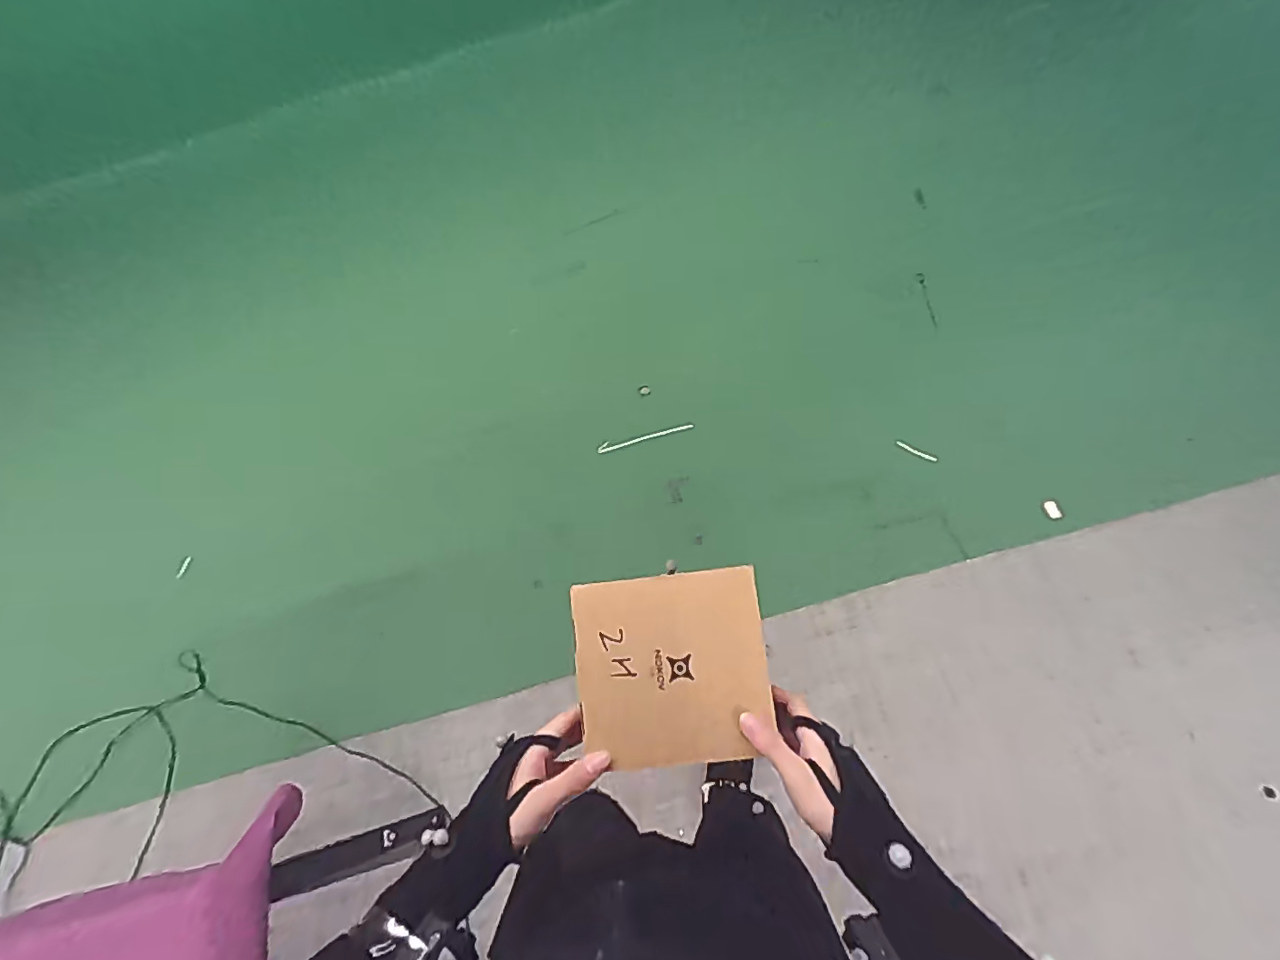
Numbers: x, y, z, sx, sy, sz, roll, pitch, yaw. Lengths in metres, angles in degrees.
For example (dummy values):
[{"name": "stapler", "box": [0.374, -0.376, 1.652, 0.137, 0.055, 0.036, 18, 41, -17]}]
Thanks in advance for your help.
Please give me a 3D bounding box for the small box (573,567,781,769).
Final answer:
[{"name": "small box", "box": [0.036, 0.183, 0.569, 0.179, 0.176, 0.168, -8, 78, 4]}]
